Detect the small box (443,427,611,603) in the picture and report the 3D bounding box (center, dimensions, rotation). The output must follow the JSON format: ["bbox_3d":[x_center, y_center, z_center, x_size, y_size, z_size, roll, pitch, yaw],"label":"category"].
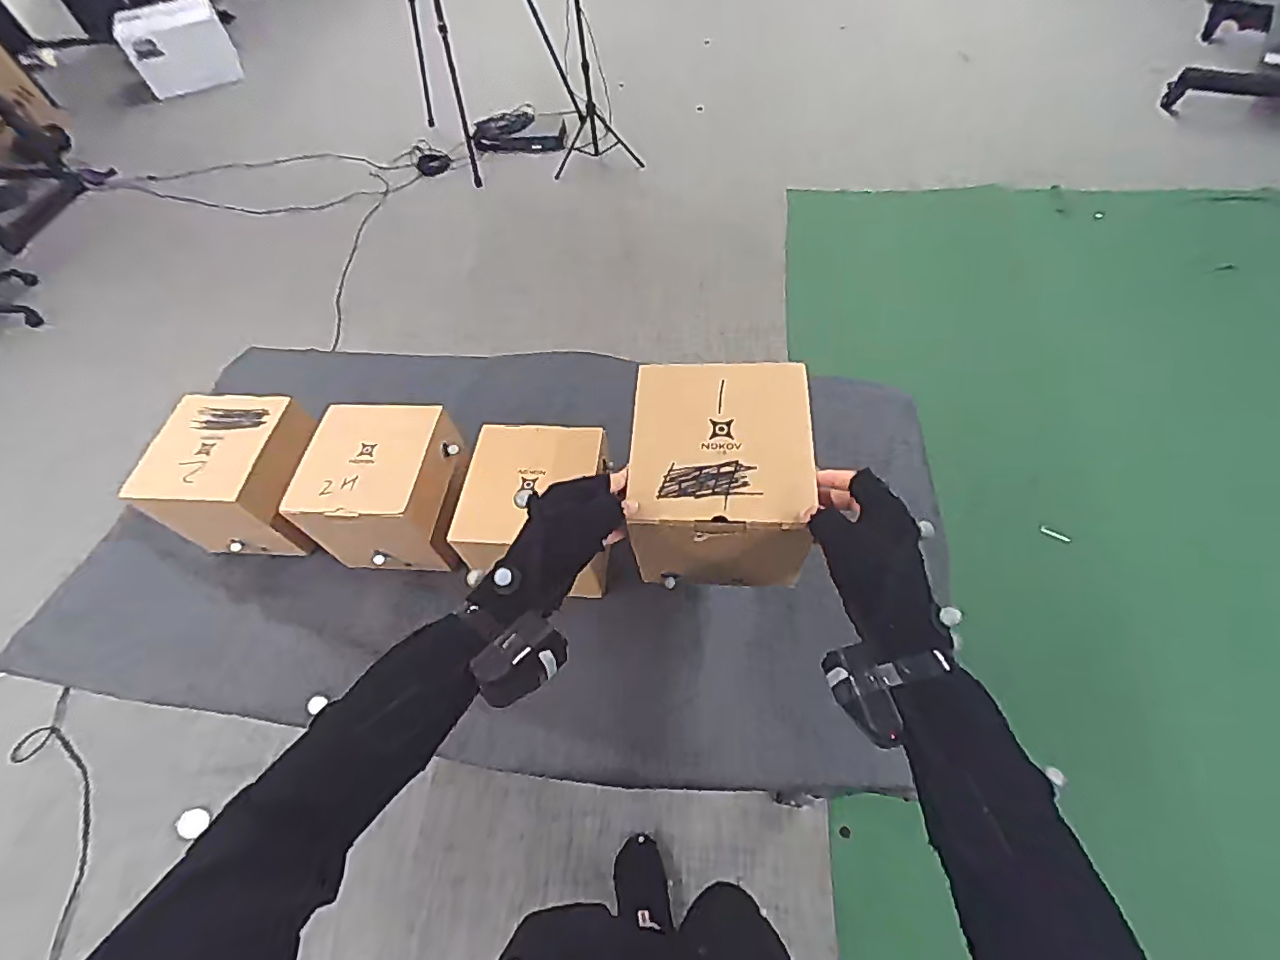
[{"bbox_3d":[-0.134,0.052,0.725,0.168,0.176,0.179,4,57,5],"label":"small box"}]

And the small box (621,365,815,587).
[{"bbox_3d":[0.080,0.003,0.562,0.168,0.176,0.179,1,60,7],"label":"small box"}]

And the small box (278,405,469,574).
[{"bbox_3d":[-0.350,0.015,0.762,0.168,0.176,0.179,1,57,6],"label":"small box"}]
